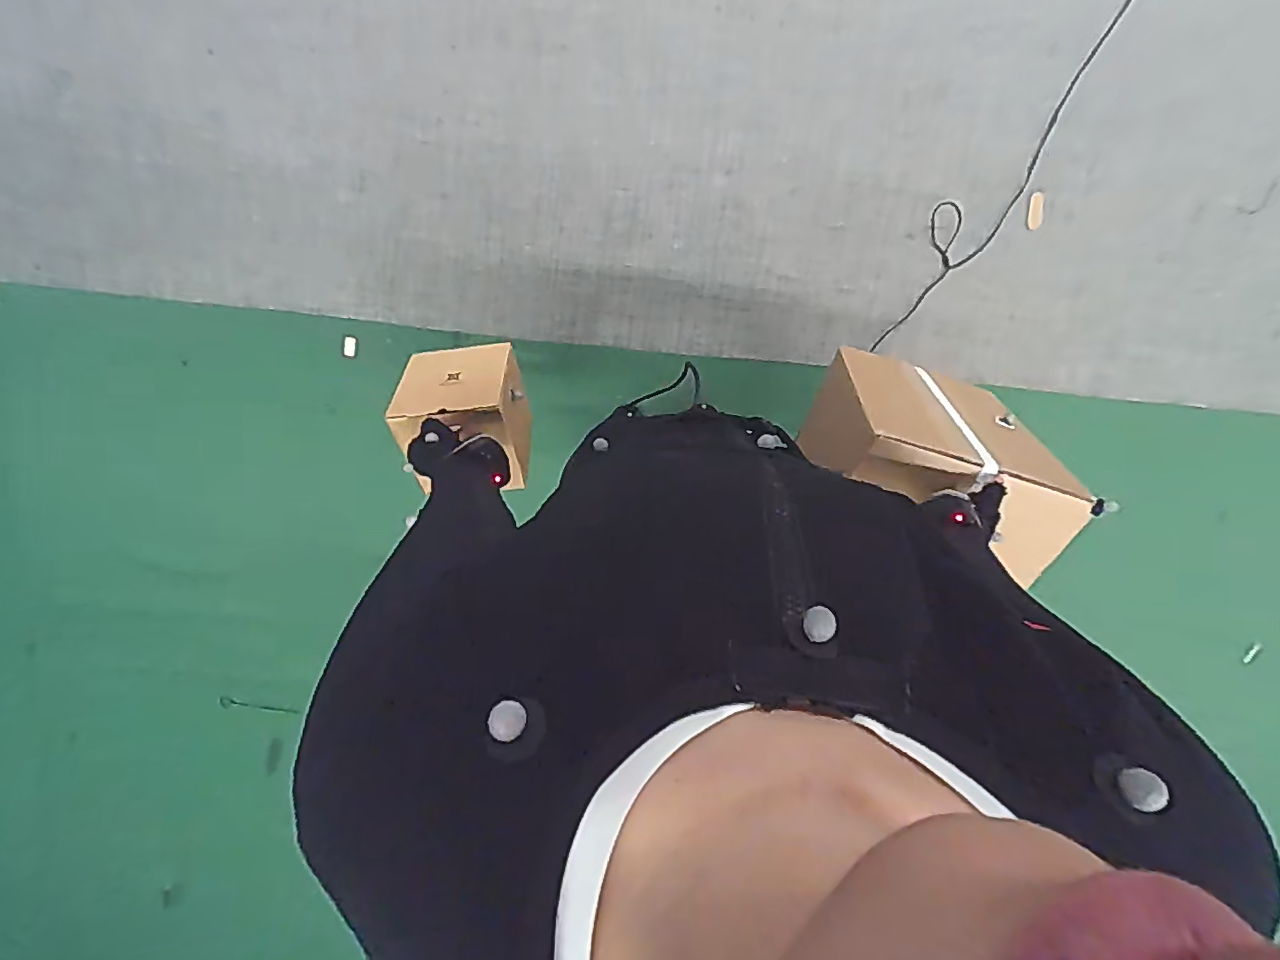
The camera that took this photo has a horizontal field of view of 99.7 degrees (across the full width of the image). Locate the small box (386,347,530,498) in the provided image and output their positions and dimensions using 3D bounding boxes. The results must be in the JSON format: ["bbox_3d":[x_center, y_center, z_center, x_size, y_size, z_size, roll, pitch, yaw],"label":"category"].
[{"bbox_3d":[-0.282,-0.094,0.887,0.168,0.179,0.176,-7,134,1],"label":"small box"}]
